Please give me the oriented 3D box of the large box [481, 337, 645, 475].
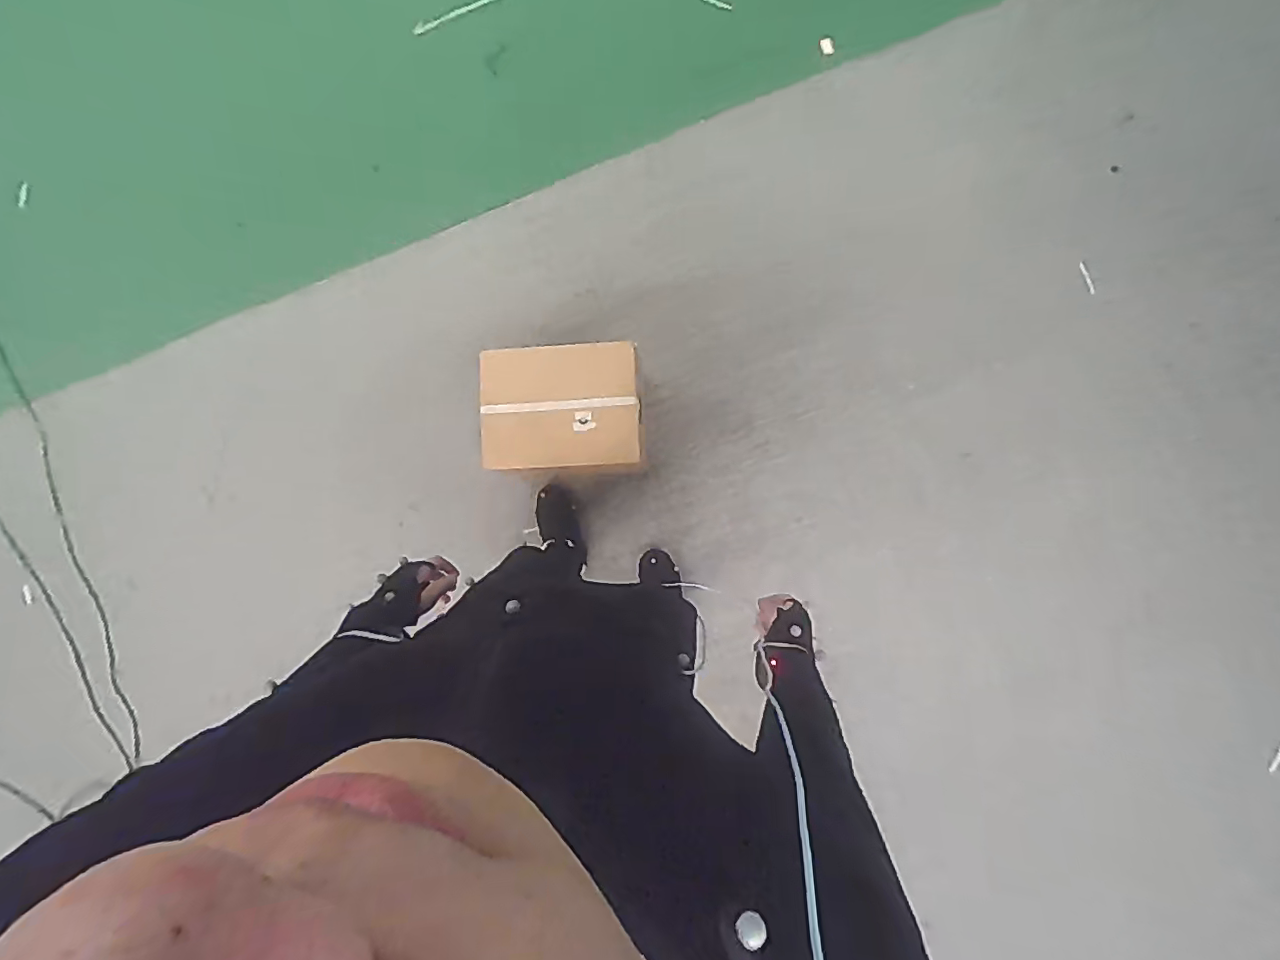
[{"bbox_3d":[-0.197,-0.189,1.512,0.408,0.320,0.320,-2,86,4],"label":"large box"}]
